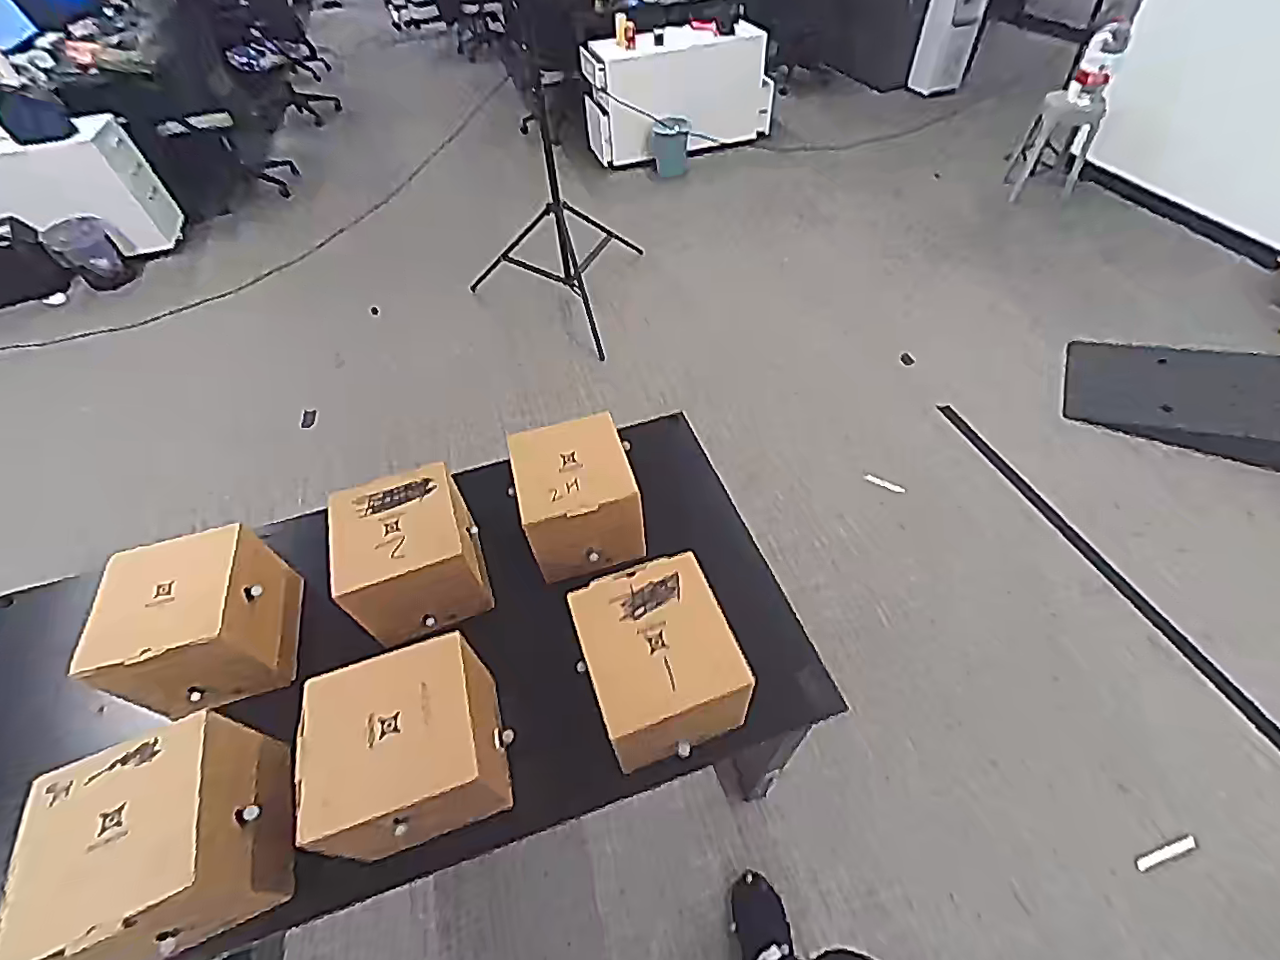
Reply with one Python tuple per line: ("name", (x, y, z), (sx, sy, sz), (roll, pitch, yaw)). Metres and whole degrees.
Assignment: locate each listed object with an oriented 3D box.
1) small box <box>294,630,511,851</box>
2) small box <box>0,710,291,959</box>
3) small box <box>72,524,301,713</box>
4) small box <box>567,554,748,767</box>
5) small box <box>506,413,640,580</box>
("small box", (-0.268, 0.309, 0.635), (0.179, 0.176, 0.168), (-17, 52, -10))
("small box", (-0.508, 0.386, 0.586), (0.168, 0.176, 0.179), (-21, 53, -13))
("small box", (-0.602, 0.193, 0.752), (0.168, 0.176, 0.179), (-15, 52, -9))
("small box", (0.017, 0.228, 0.678), (0.168, 0.176, 0.179), (-18, 52, -9))
("small box", (-0.102, 0.027, 0.850), (0.168, 0.176, 0.179), (-15, 52, -7))
